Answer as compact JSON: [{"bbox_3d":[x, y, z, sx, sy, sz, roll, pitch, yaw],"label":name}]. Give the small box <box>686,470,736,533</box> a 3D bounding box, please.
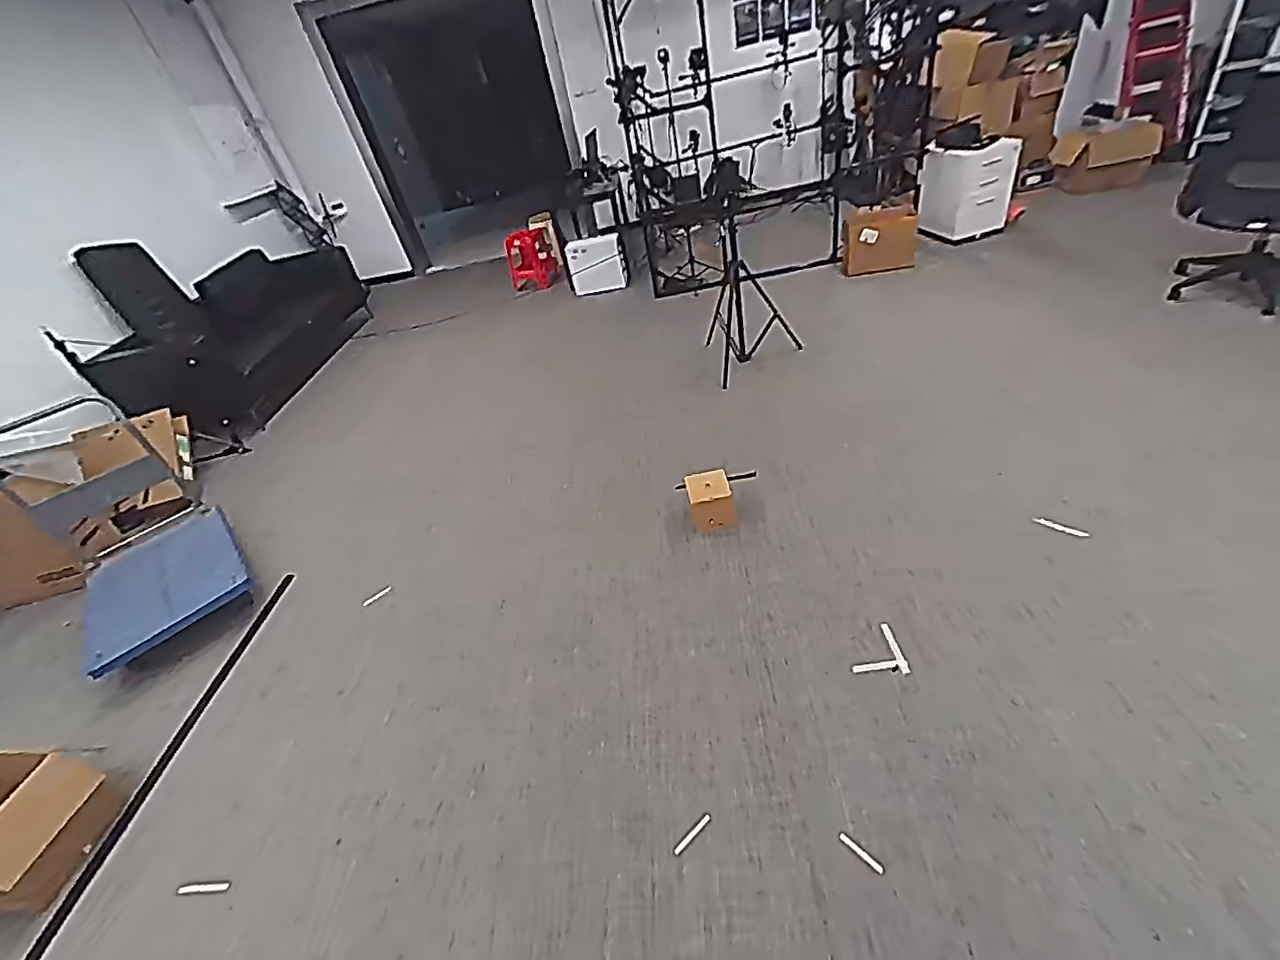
[{"bbox_3d":[0.287,0.089,2.200,0.168,0.176,0.179,-12,37,3],"label":"small box"}]
